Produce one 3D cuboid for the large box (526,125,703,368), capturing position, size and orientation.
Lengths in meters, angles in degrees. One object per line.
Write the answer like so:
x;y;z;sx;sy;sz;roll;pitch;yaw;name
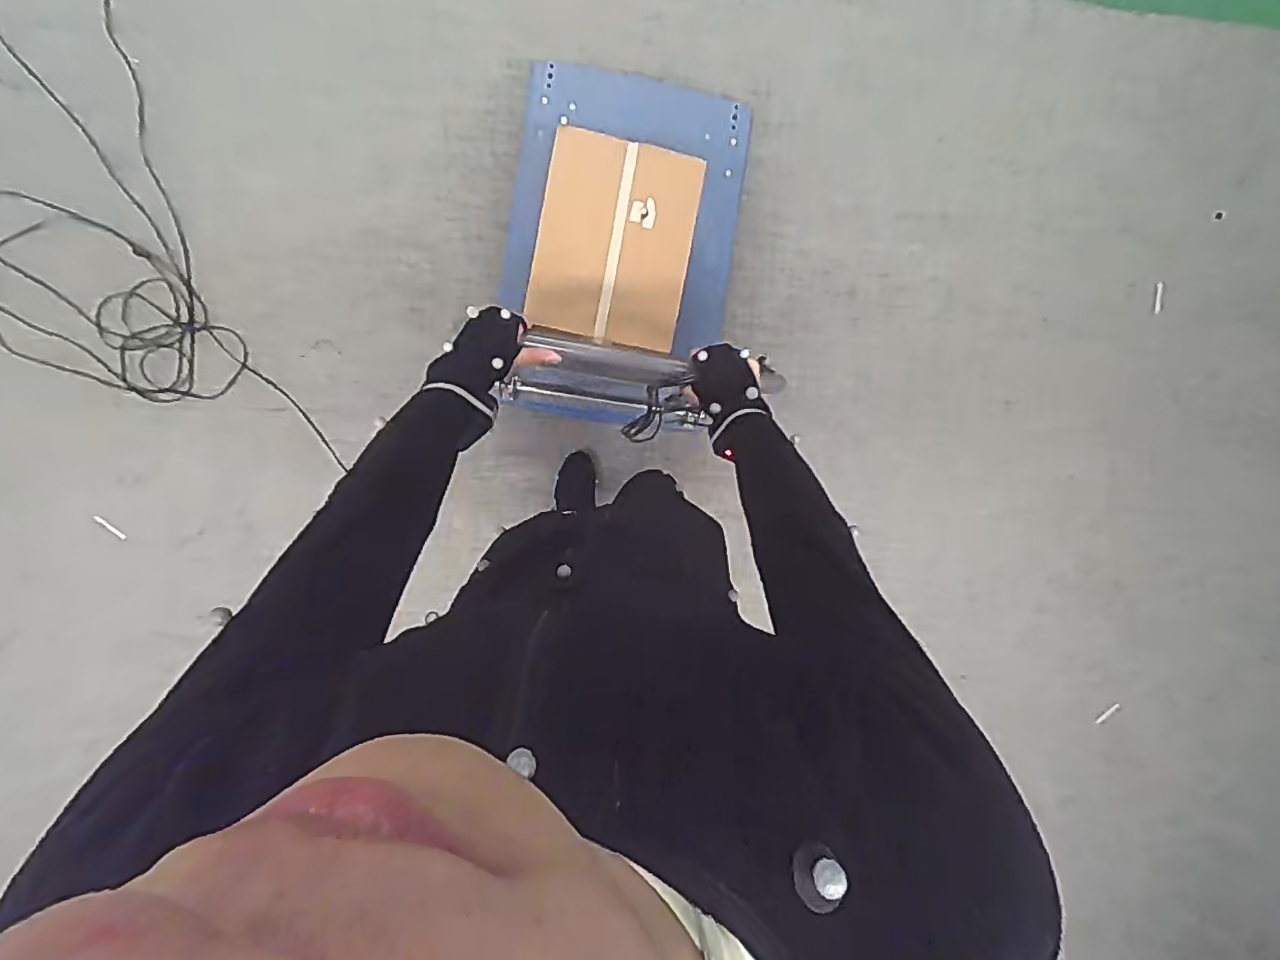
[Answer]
-0.066;-0.502;1.258;0.320;0.320;0.408;11;92;-7;large box
